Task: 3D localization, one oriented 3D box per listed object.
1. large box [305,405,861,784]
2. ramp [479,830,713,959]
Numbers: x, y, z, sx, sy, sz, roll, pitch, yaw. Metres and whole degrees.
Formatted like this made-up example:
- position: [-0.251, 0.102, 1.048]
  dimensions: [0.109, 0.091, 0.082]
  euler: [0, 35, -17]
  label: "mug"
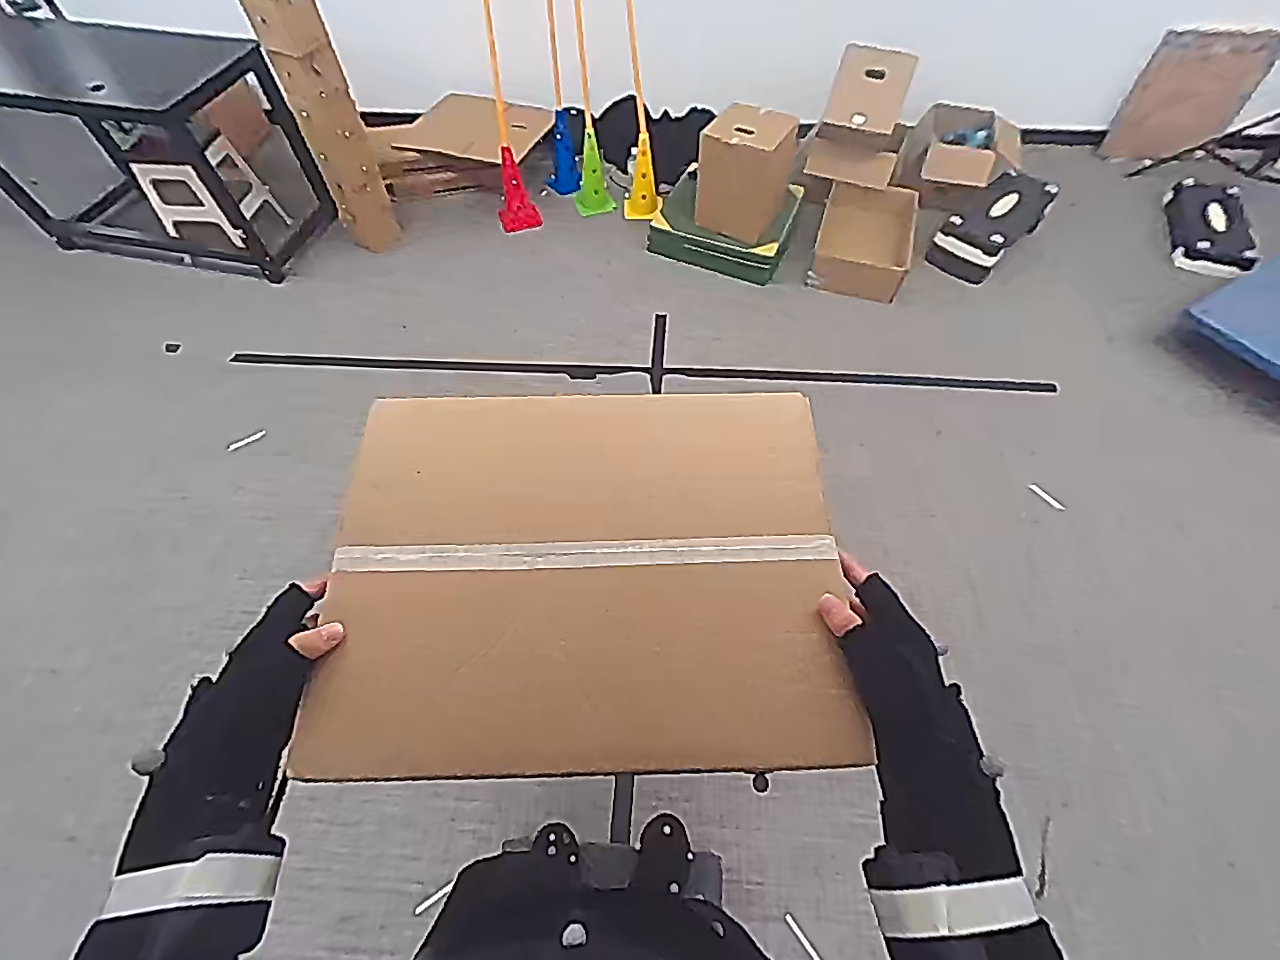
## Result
- position: [-0.043, 0.134, 0.581]
  dimensions: [0.408, 0.320, 0.320]
  euler: [-1, 63, -1]
  label: "large box"
- position: [-0.110, 1.262, 1.027]
  dimensions: [0.509, 0.206, 0.991]
  euler: [3, 58, -1]
  label: "ramp"
